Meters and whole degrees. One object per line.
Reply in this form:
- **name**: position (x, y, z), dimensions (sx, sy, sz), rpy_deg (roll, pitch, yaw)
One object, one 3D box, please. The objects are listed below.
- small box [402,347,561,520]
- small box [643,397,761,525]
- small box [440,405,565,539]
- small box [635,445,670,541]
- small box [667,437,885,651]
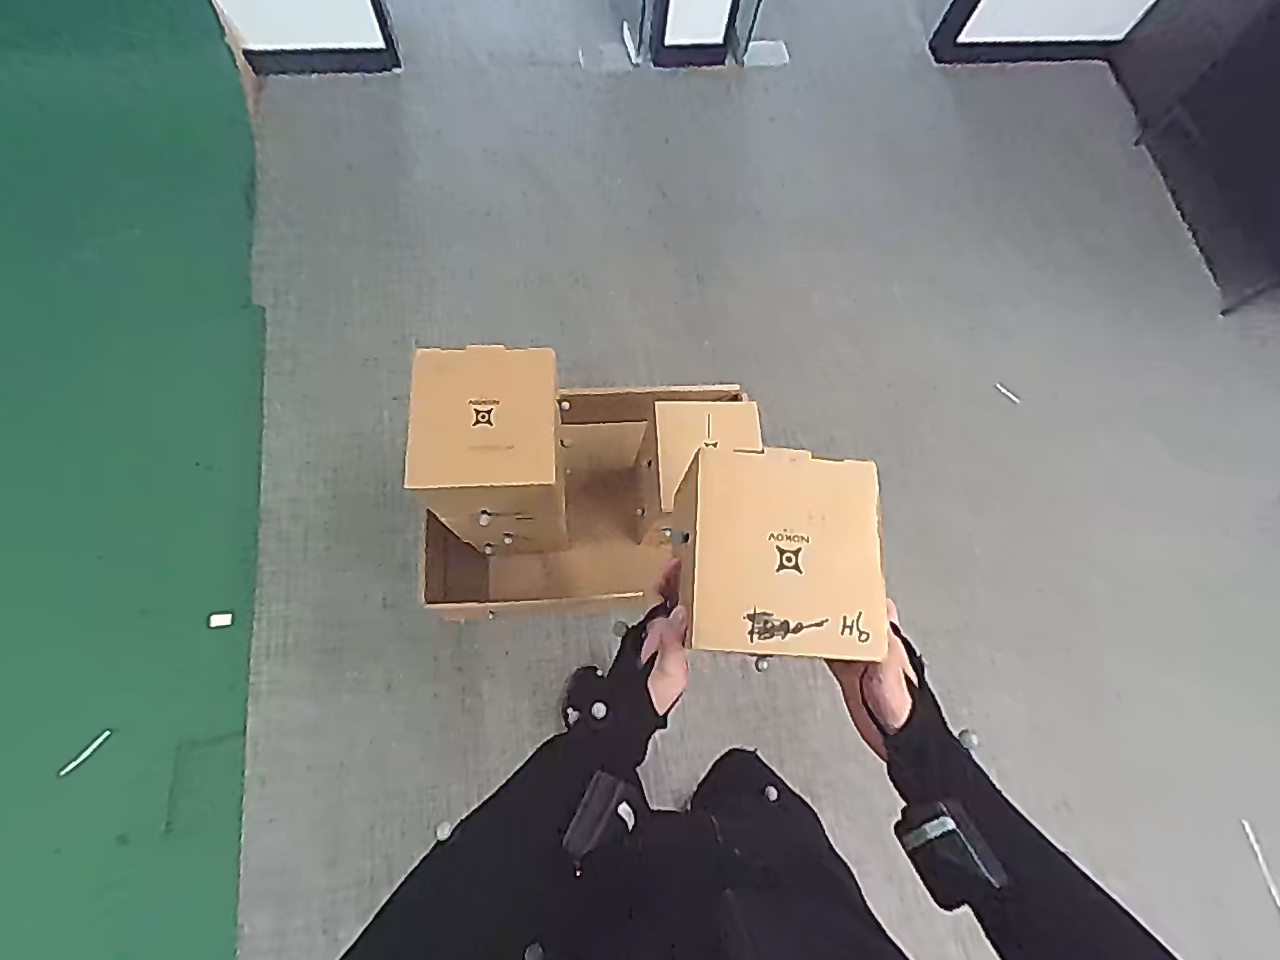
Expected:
- **small box**: position (-0.191, -0.053, 0.699), dimensions (0.168, 0.176, 0.179), rpy_deg (-2, 74, -6)
- **small box**: position (0.097, -0.024, 0.889), dimensions (0.168, 0.176, 0.179), rpy_deg (-1, 74, -7)
- **small box**: position (-0.206, -0.008, 0.854), dimensions (0.168, 0.176, 0.179), rpy_deg (-1, 74, -5)
- **small box**: position (0.082, 0.015, 1.049), dimensions (0.168, 0.176, 0.179), rpy_deg (-3, 75, -7)
- **small box**: position (0.119, 0.073, 0.537), dimensions (0.168, 0.176, 0.179), rpy_deg (4, 74, -3)
